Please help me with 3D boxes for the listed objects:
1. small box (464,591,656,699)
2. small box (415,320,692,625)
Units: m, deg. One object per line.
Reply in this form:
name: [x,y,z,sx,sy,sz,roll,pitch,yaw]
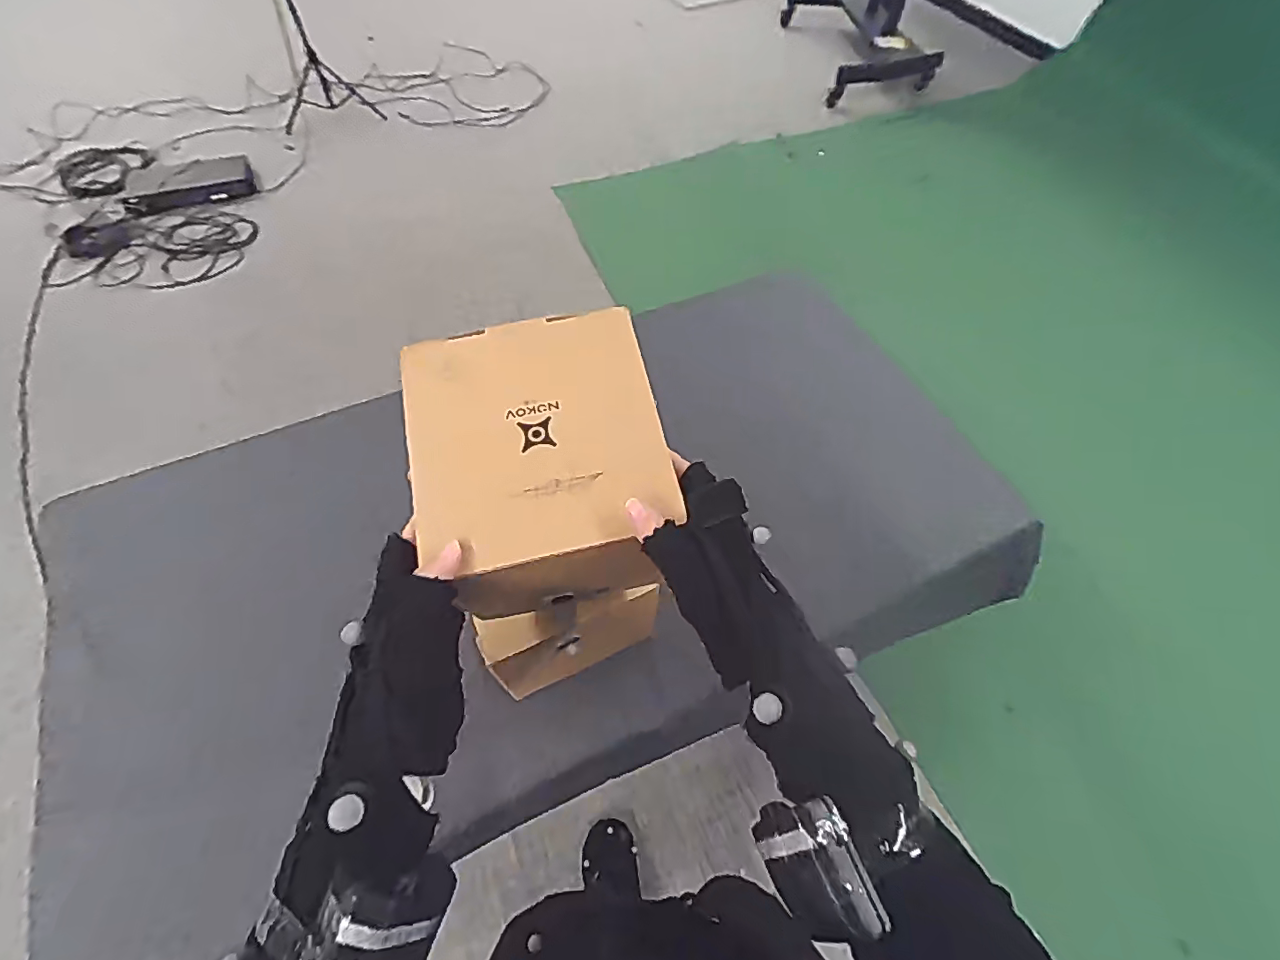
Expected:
small box: [-0.095,0.126,0.617,0.179,0.176,0.168,-22,61,-16]
small box: [-0.067,0.004,0.436,0.168,0.176,0.179,-12,68,-6]
